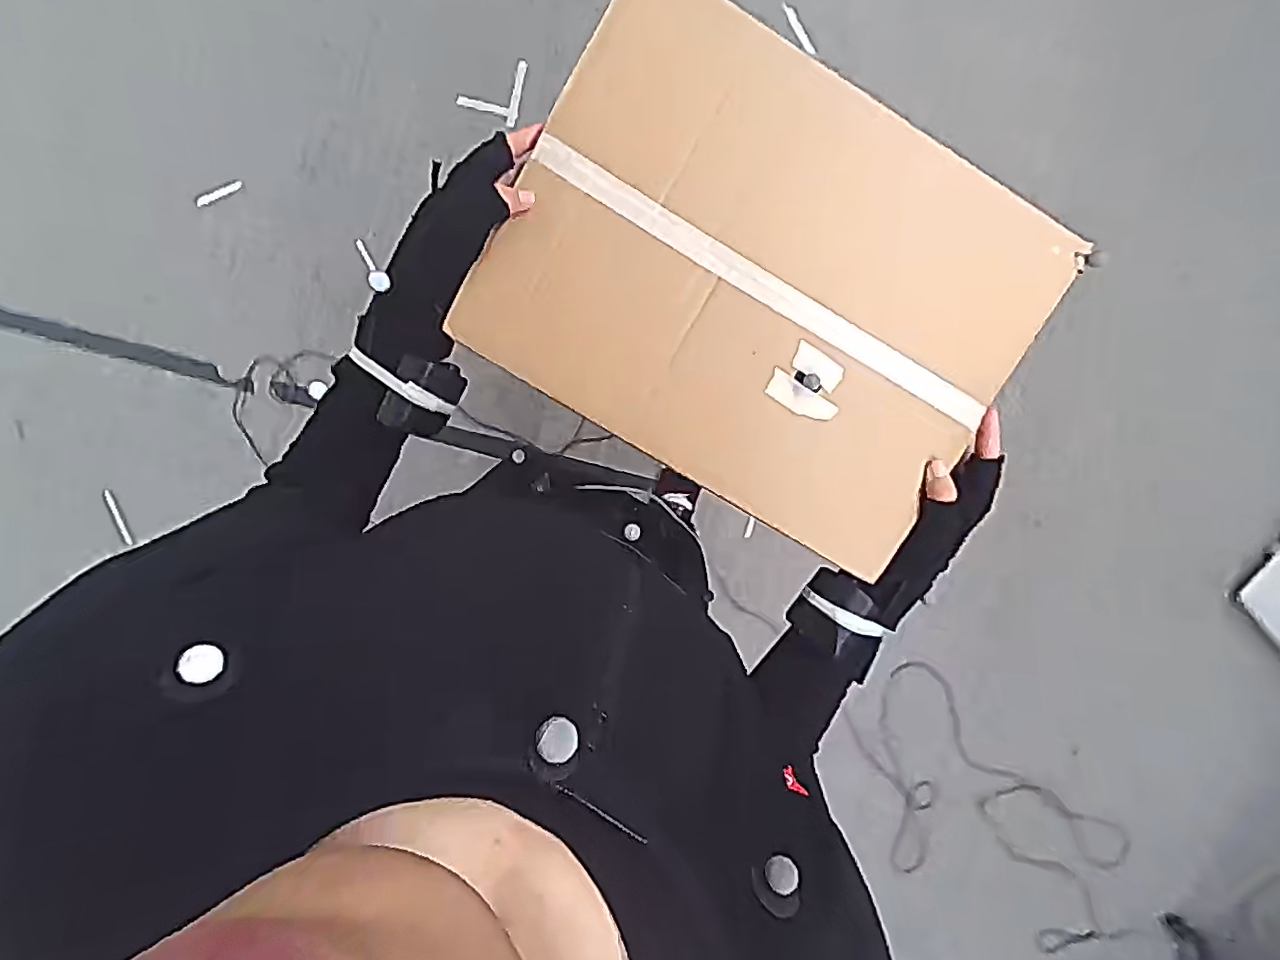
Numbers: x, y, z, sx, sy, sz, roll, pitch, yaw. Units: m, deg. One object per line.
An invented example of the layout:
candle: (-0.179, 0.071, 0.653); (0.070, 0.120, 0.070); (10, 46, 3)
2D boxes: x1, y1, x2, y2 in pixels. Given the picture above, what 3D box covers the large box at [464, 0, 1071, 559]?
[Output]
large box: (0.098, -0.175, 0.579); (0.408, 0.320, 0.320); (30, 97, -5)
